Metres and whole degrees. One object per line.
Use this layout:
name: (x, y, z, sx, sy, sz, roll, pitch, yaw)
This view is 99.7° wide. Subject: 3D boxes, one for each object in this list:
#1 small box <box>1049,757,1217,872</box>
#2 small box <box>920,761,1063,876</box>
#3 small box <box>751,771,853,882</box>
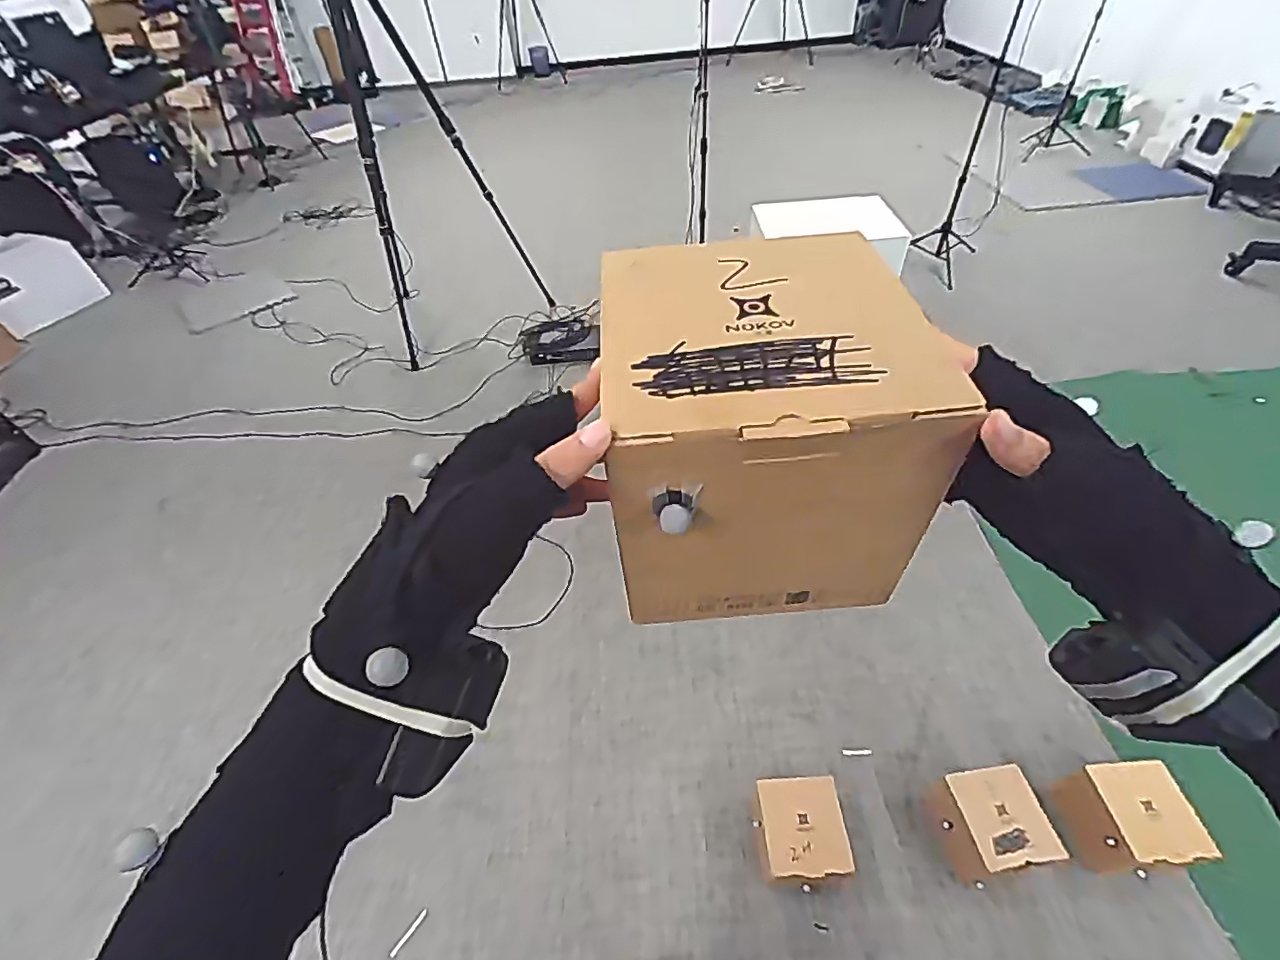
small box: (1.034, 0.715, 1.157, 0.168, 0.176, 0.179, -5, 47, 1)
small box: (0.741, 0.732, 1.163, 0.168, 0.176, 0.179, -7, 46, -3)
small box: (0.339, 0.752, 1.173, 0.168, 0.176, 0.179, -4, 48, 2)
